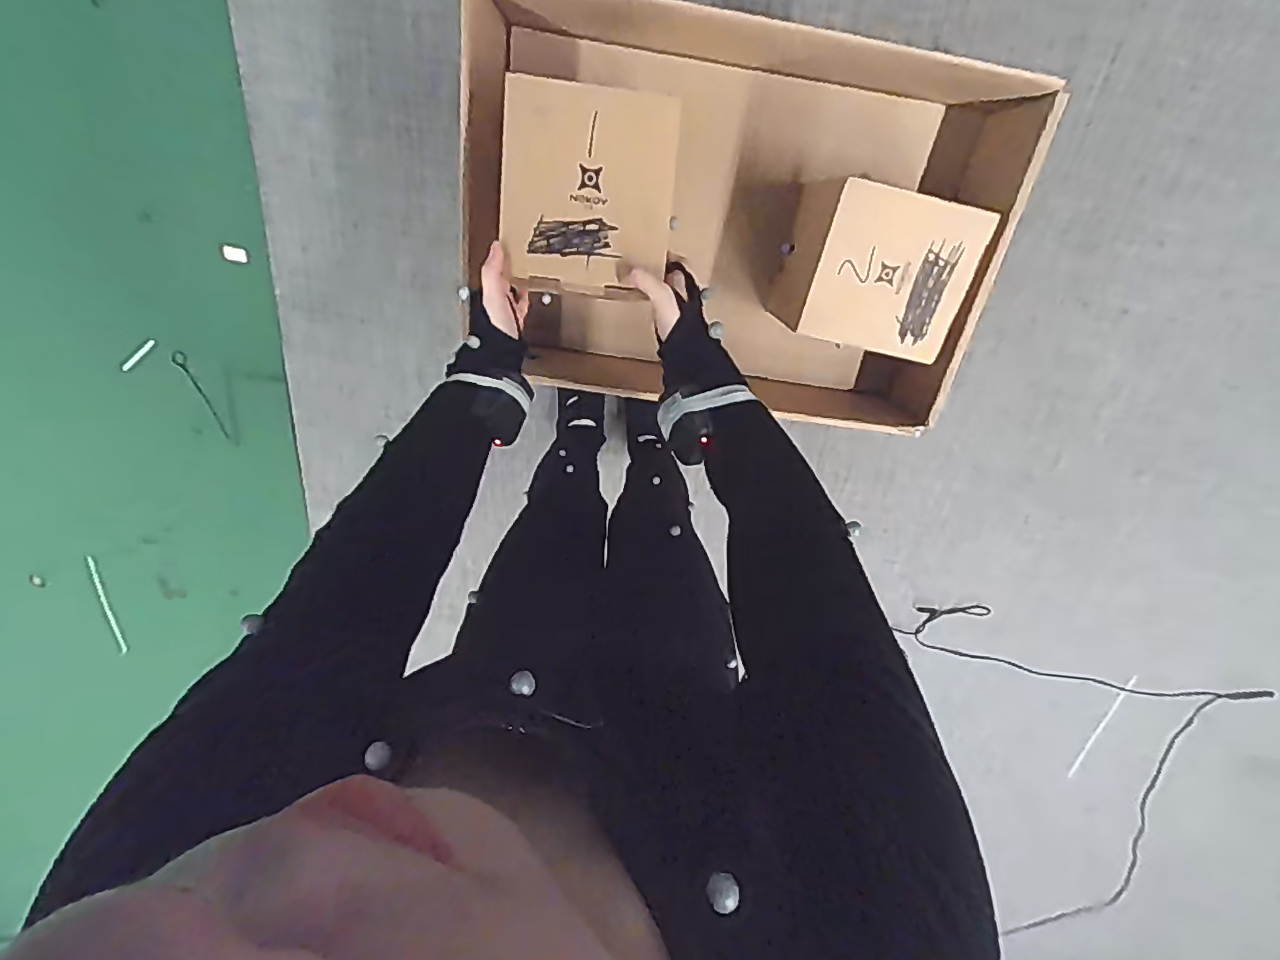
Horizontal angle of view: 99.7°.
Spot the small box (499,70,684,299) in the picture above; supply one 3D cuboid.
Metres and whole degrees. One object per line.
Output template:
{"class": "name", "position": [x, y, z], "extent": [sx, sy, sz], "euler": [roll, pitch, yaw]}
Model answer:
{"class": "small box", "position": [-0.051, -0.301, 0.593], "extent": [0.168, 0.176, 0.179], "euler": [5, 103, -4]}
